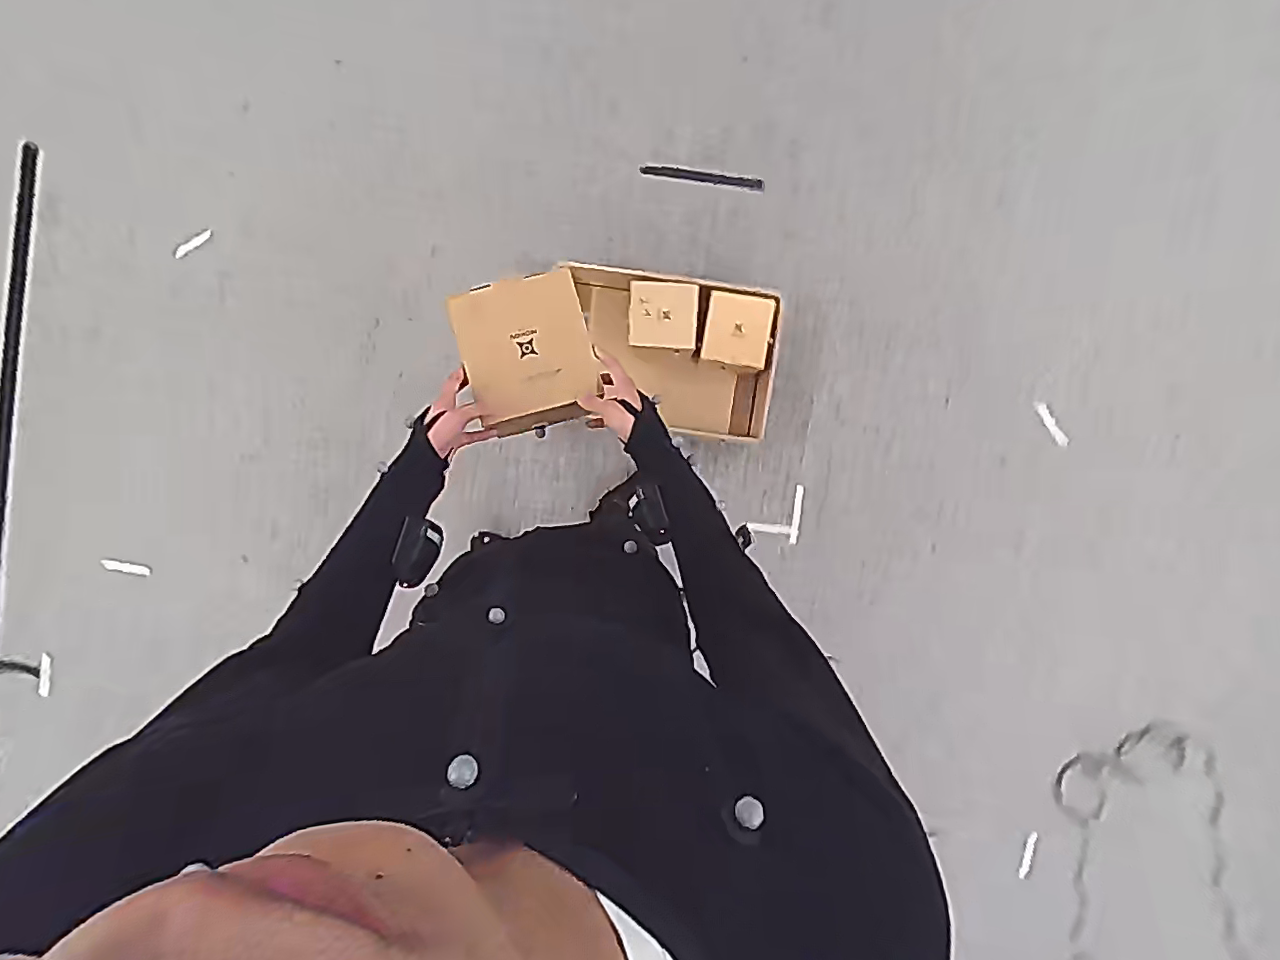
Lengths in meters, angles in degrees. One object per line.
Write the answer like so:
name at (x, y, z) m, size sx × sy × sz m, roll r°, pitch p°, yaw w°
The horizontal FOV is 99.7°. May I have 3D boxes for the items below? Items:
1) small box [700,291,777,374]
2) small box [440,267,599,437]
small box at (0.260, -0.395, 1.470) m, size 0.168 × 0.176 × 0.179 m, roll 10°, pitch 97°, yaw 2°
small box at (-0.164, -0.170, 0.772) m, size 0.168 × 0.176 × 0.179 m, roll -17°, pitch 92°, yaw -7°
